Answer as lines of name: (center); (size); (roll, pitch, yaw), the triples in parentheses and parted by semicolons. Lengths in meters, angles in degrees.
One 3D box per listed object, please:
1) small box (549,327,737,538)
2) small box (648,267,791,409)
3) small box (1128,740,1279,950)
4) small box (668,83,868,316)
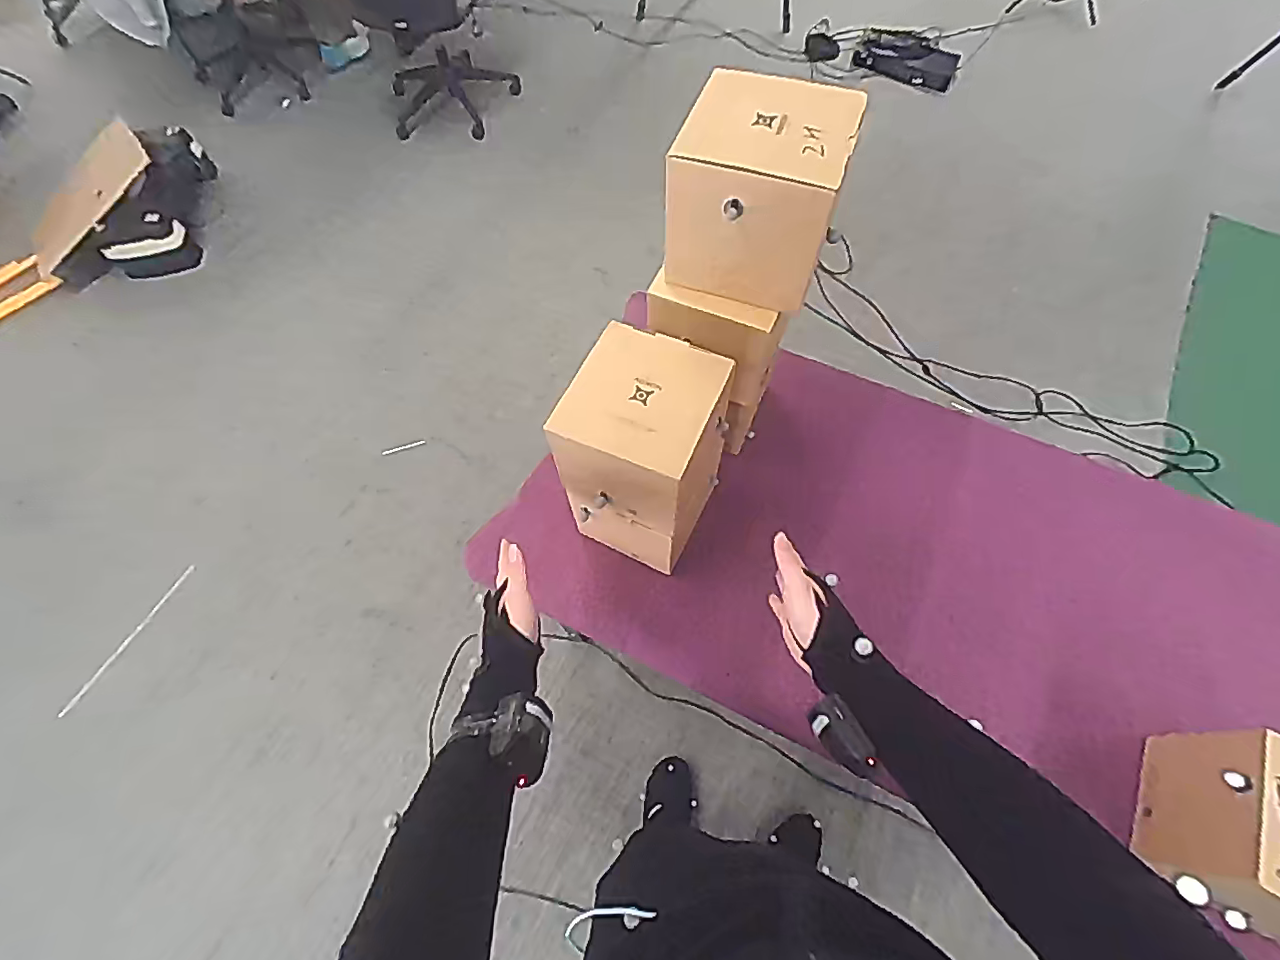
small box: (0.006, -0.054, 0.688); (0.168, 0.176, 0.179); (22, 66, 12)
small box: (0.122, -0.231, 0.775); (0.168, 0.176, 0.179); (22, 65, 12)
small box: (0.719, 0.418, 0.610); (0.179, 0.176, 0.168); (28, 66, 15)
small box: (0.139, -0.321, 0.636); (0.179, 0.176, 0.168); (19, 65, 10)
